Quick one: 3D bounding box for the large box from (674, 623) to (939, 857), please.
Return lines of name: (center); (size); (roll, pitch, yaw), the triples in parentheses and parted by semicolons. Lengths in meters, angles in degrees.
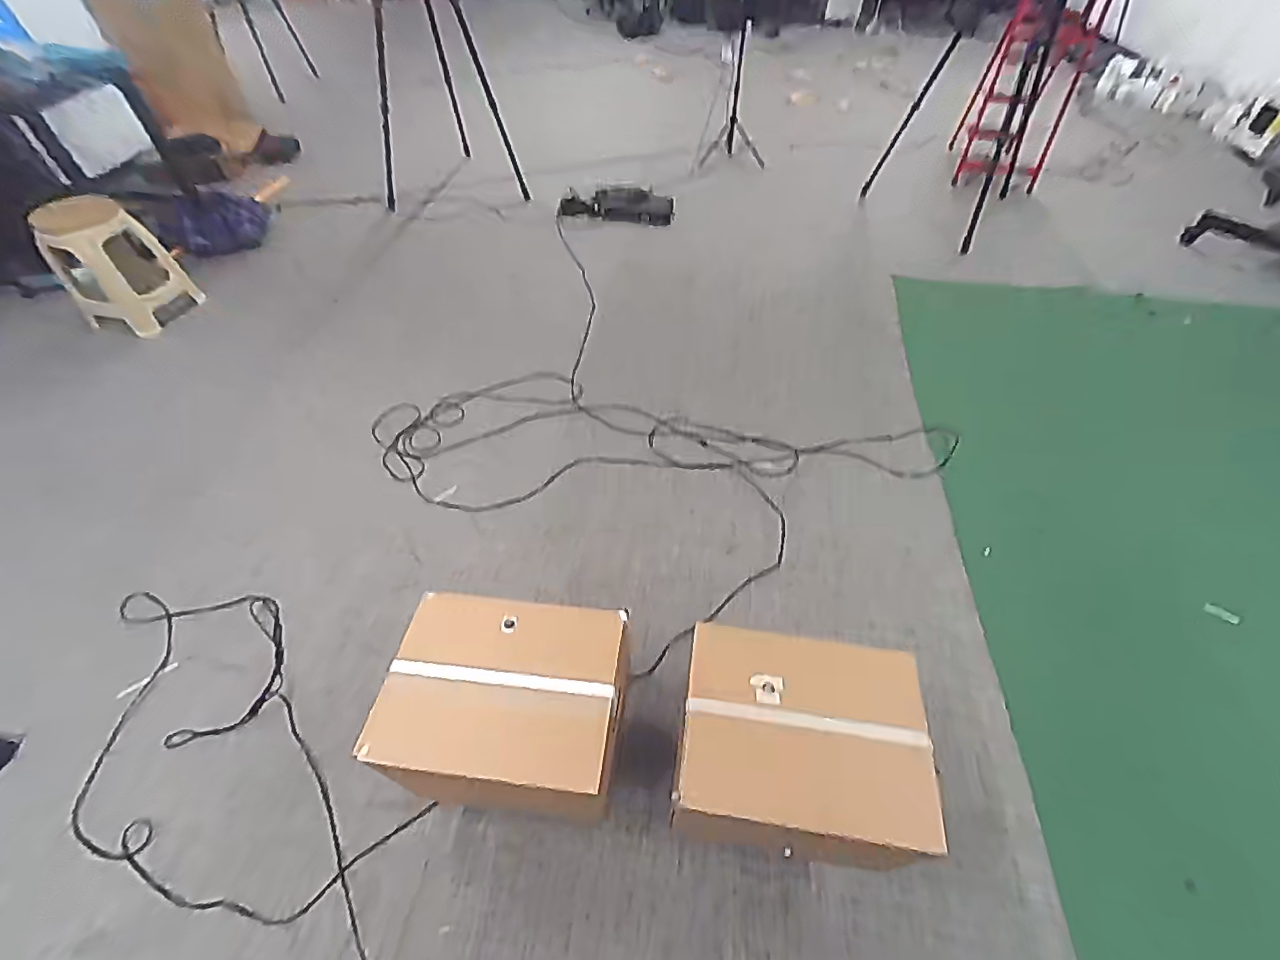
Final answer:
large box: (0.285, 0.505, 1.045); (0.408, 0.320, 0.320); (7, 51, 7)
